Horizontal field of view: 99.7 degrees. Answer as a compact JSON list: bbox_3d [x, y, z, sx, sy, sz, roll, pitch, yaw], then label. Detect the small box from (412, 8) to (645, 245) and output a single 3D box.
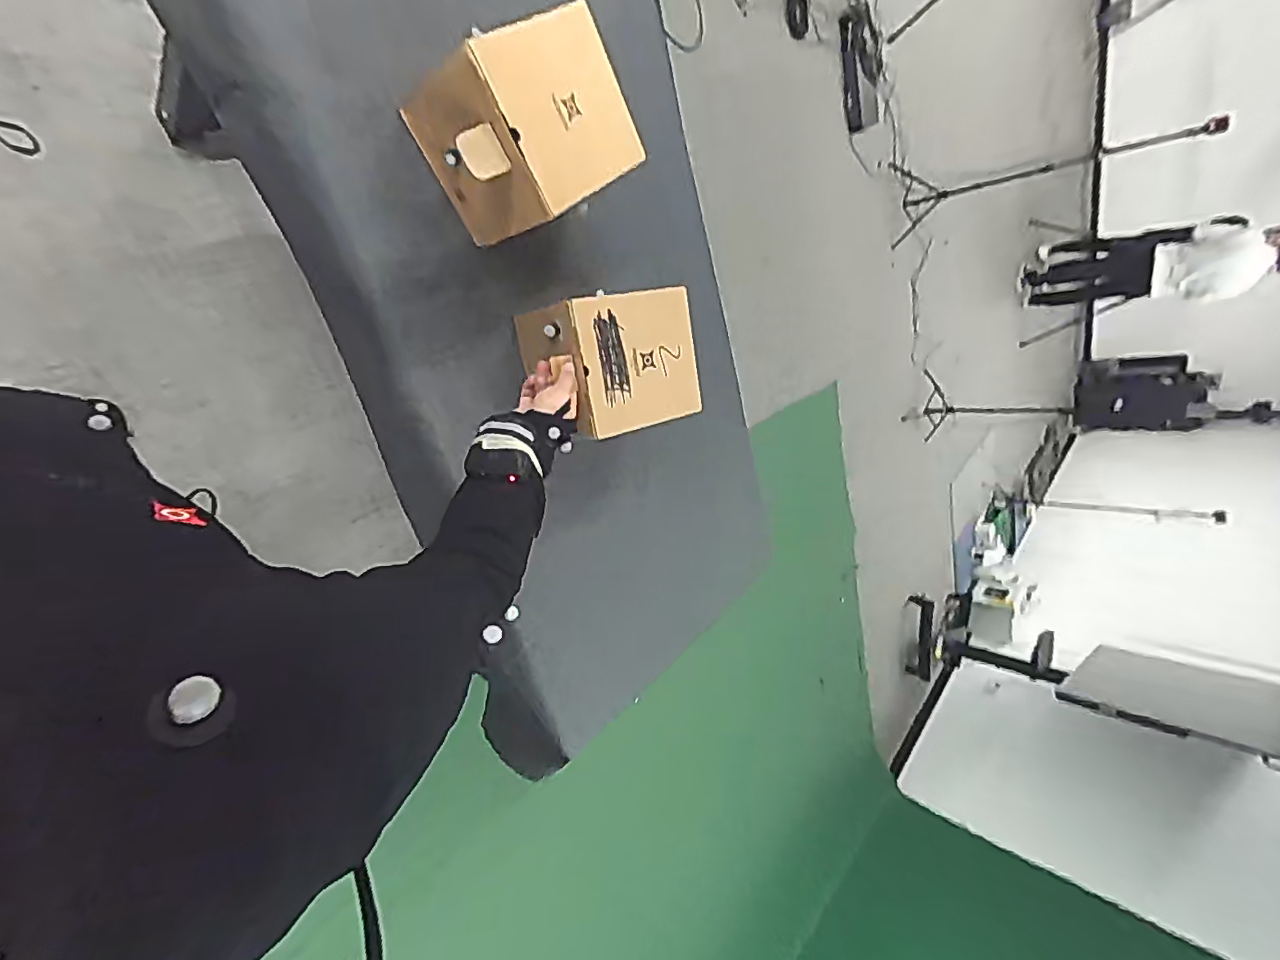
[{"bbox_3d":[-0.131,-0.407,0.643,0.179,0.176,0.168,-48,126,-28],"label":"small box"}]
